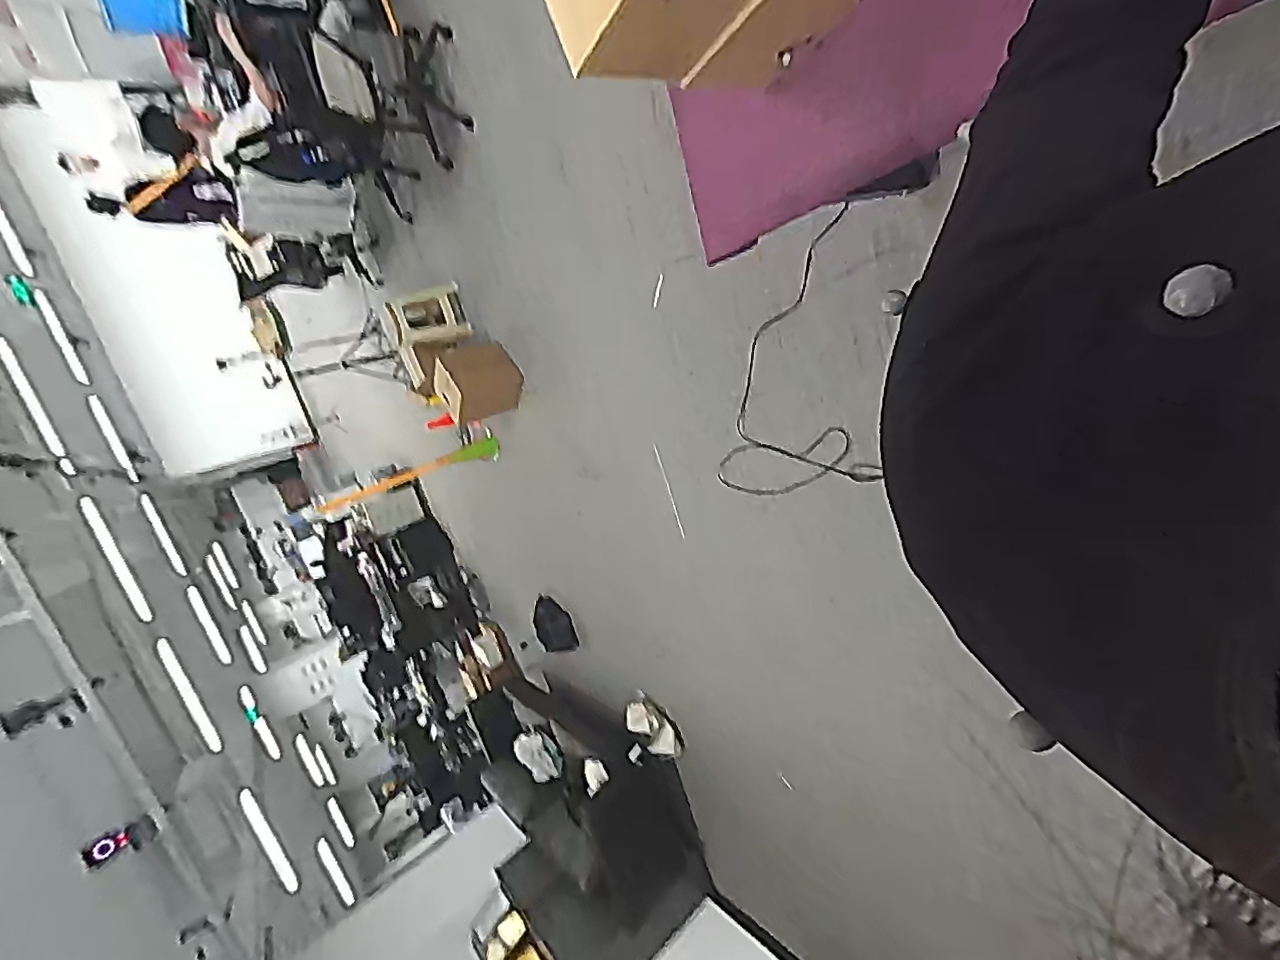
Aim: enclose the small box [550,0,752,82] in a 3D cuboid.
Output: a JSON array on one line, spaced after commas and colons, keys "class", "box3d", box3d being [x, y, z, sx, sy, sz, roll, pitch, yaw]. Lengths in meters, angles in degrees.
[{"class": "small box", "box3d": [0.009, -0.572, 0.587, 0.179, 0.176, 0.168, -13, 100, 55]}]
